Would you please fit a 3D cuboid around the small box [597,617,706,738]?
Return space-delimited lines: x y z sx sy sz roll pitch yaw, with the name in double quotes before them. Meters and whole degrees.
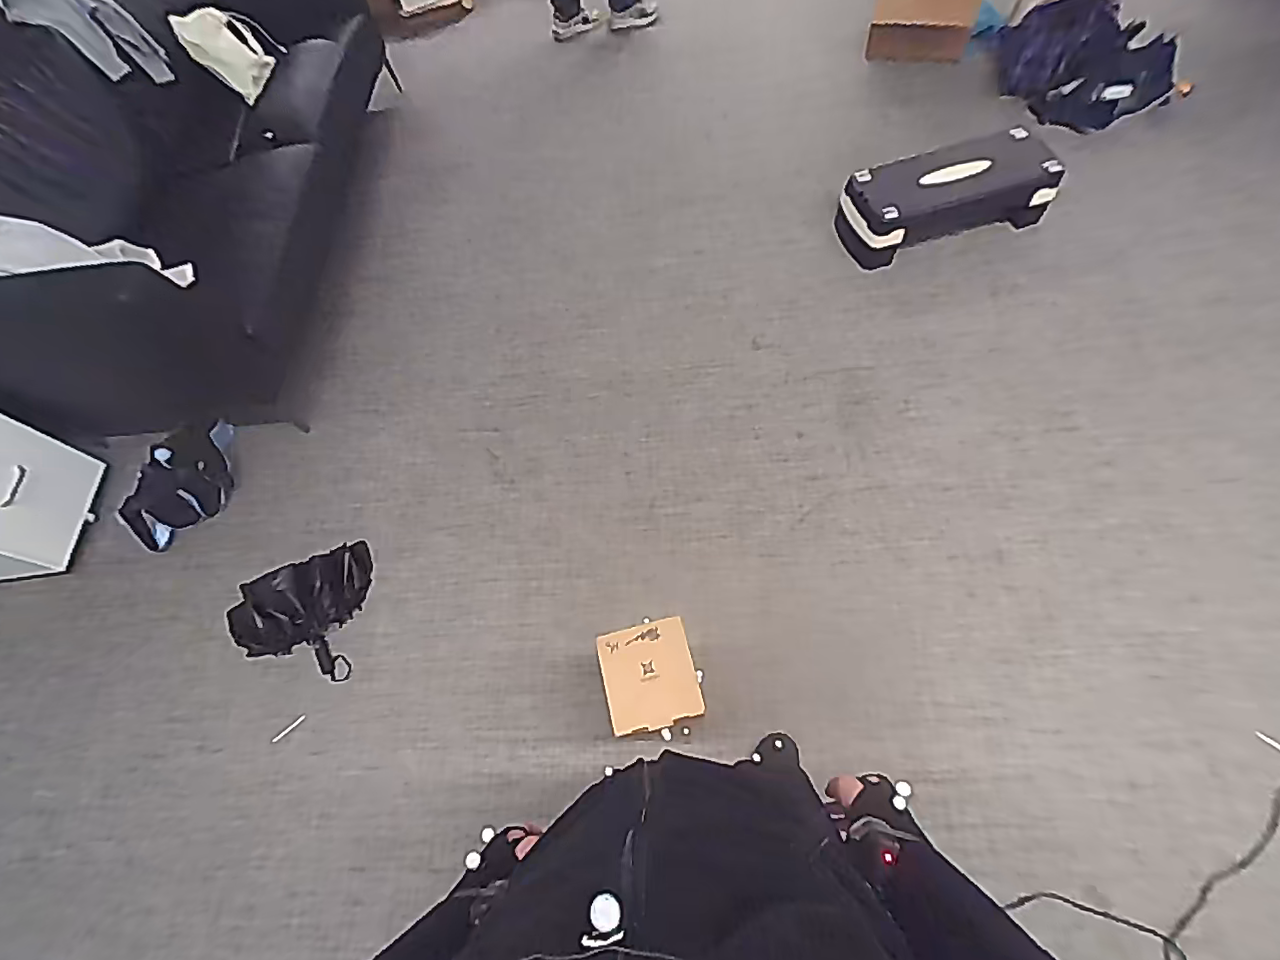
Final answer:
"small box" 0.027 0.379 1.036 0.168 0.176 0.179 -15 64 0
